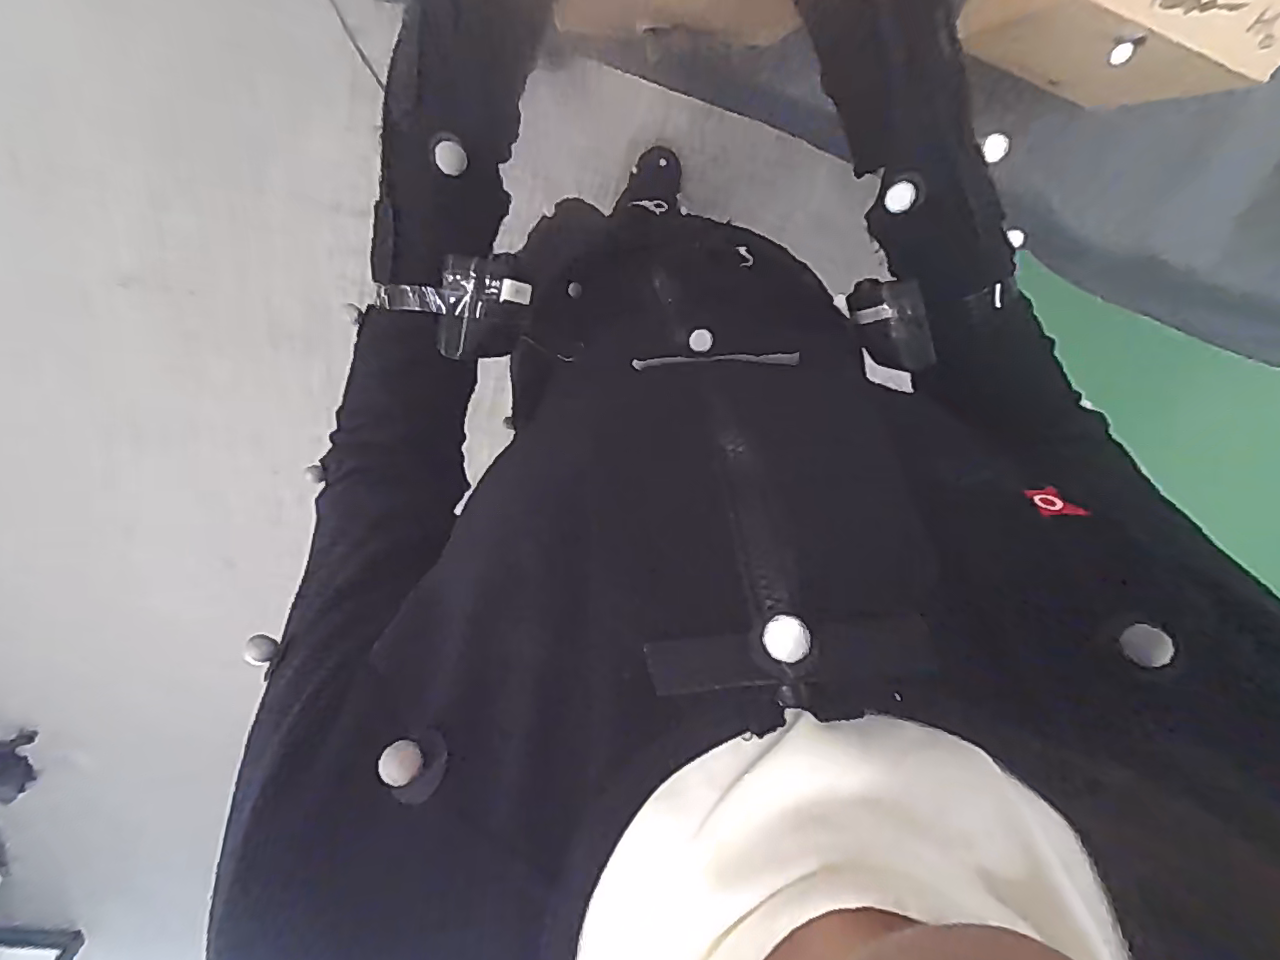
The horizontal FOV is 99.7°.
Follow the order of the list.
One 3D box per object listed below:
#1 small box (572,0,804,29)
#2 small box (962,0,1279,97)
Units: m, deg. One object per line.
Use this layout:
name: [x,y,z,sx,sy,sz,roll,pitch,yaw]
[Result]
small box: [0.032,-0.383,0.300,0.168,0.176,0.179,-1,122,-4]
small box: [0.386,-0.418,0.399,0.168,0.176,0.179,14,118,-10]
